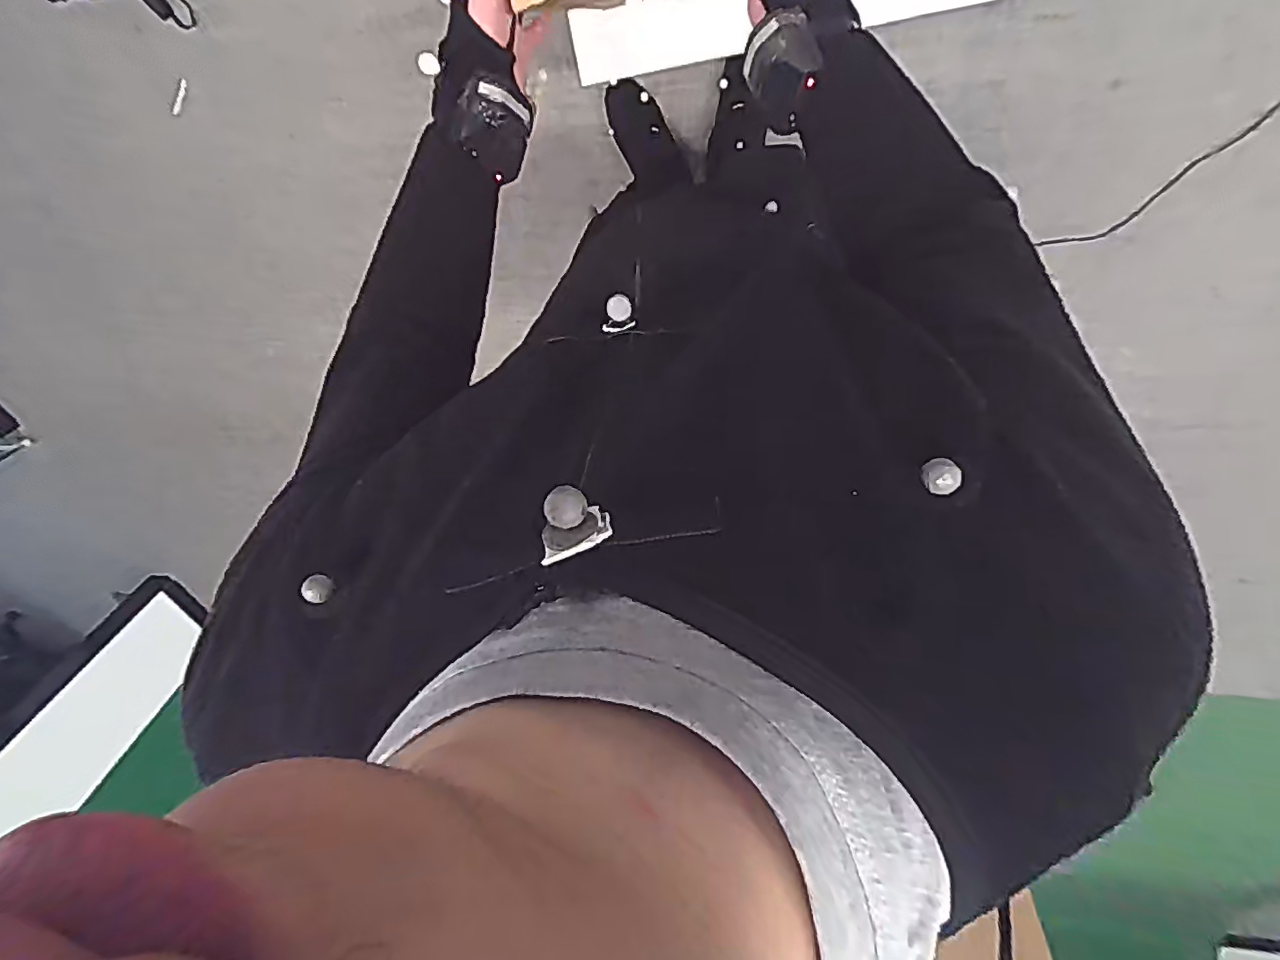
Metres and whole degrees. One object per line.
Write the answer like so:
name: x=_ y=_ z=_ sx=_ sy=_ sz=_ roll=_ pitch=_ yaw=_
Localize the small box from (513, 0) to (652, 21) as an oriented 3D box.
small box: x=-0.019 y=-0.466 z=0.393 sx=0.168 sy=0.176 sz=0.179 roll=-4 pitch=129 yaw=16
